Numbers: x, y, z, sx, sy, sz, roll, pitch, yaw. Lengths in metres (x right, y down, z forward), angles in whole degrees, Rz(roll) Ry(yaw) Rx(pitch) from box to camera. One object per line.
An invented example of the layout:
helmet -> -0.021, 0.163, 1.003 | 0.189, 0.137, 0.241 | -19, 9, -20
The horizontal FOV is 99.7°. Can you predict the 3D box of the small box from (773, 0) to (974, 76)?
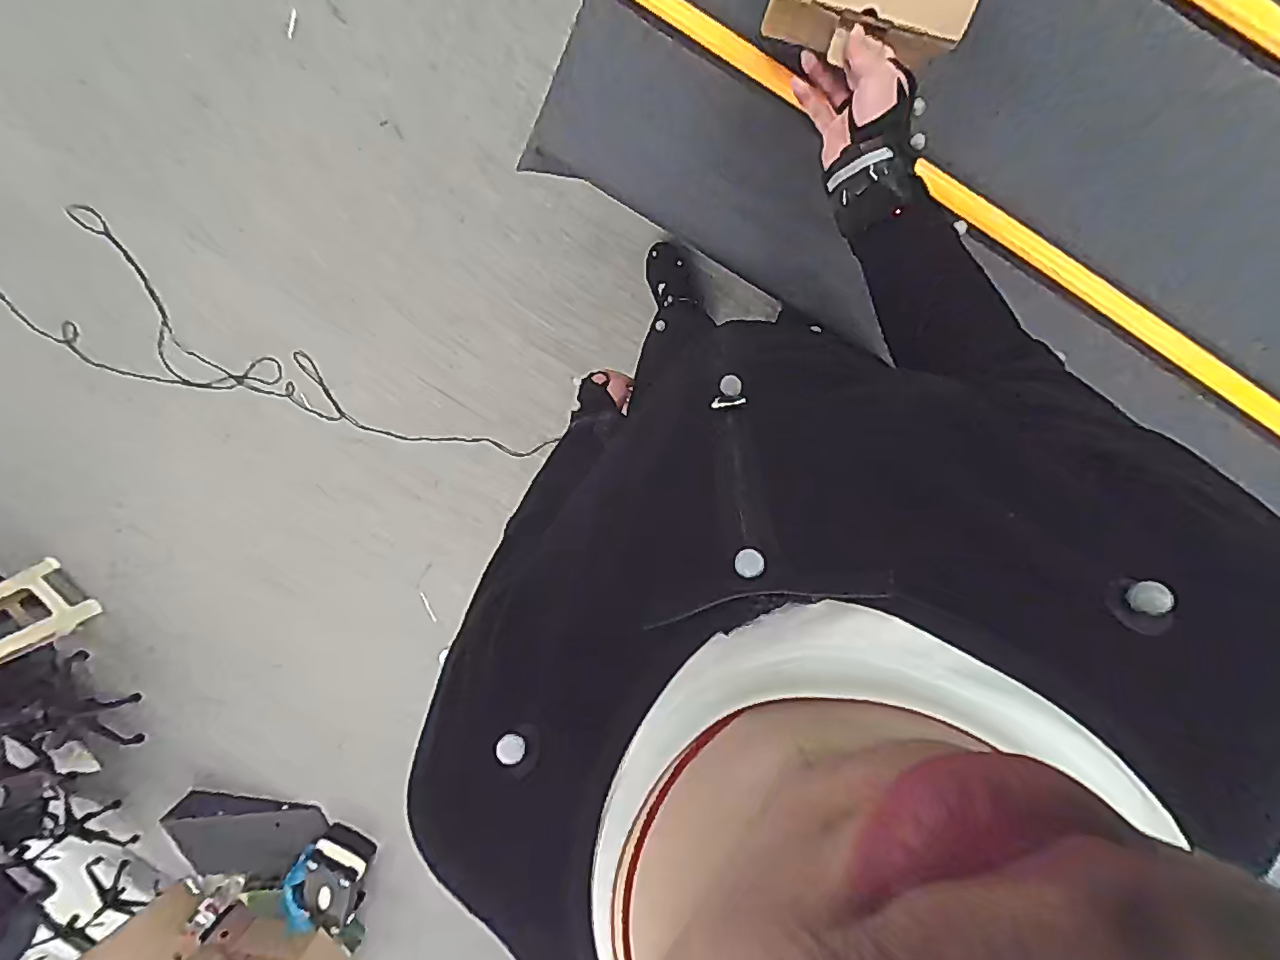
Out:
small box -> 0.229, -0.508, 0.507 | 0.168, 0.176, 0.179 | 13, 120, 2
